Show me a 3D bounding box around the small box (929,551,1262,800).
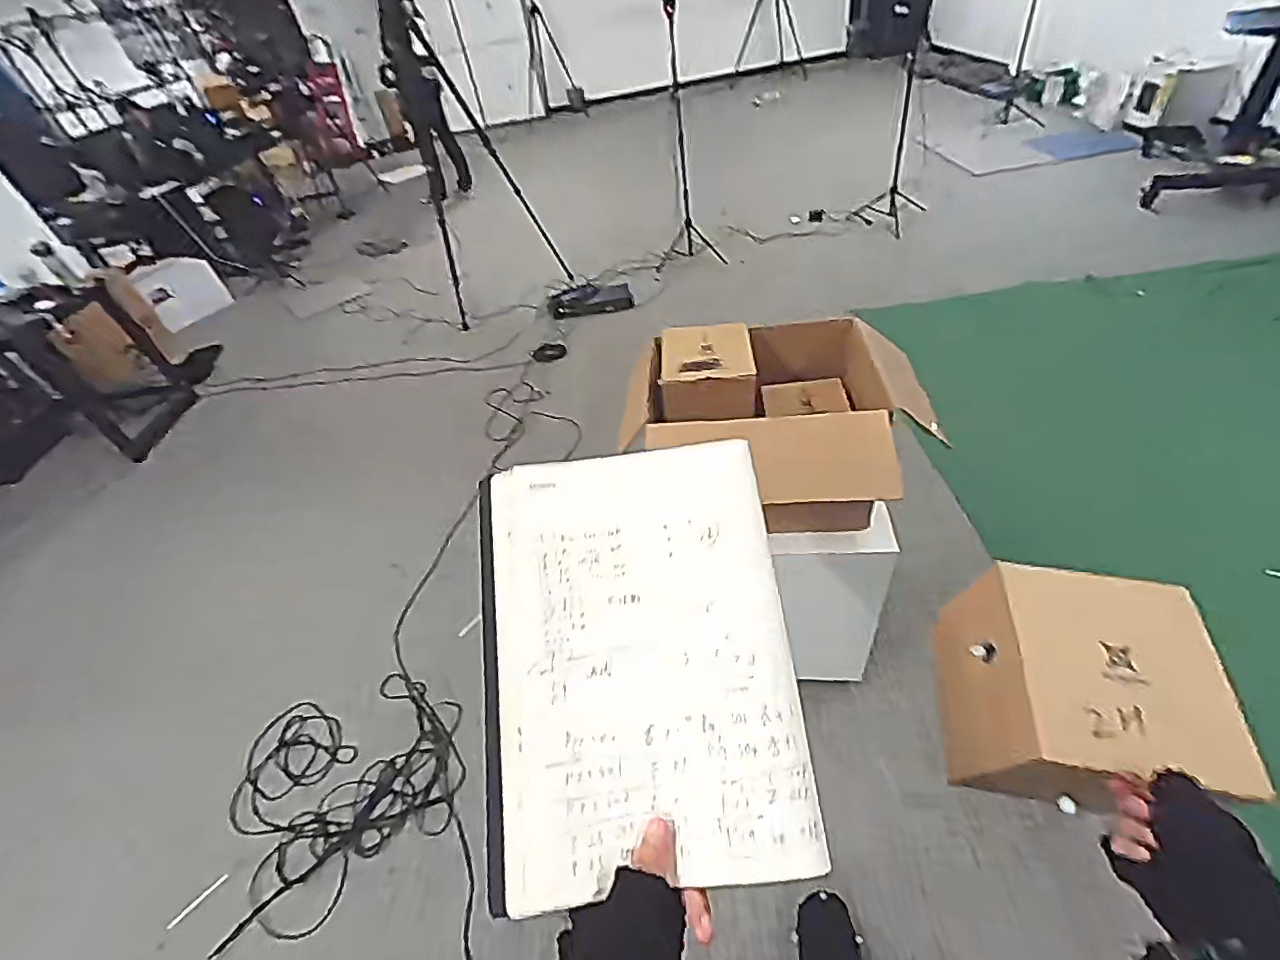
[{"bbox_3d":[0.406,0.194,0.529,0.168,0.176,0.179,7,56,7],"label":"small box"}]
